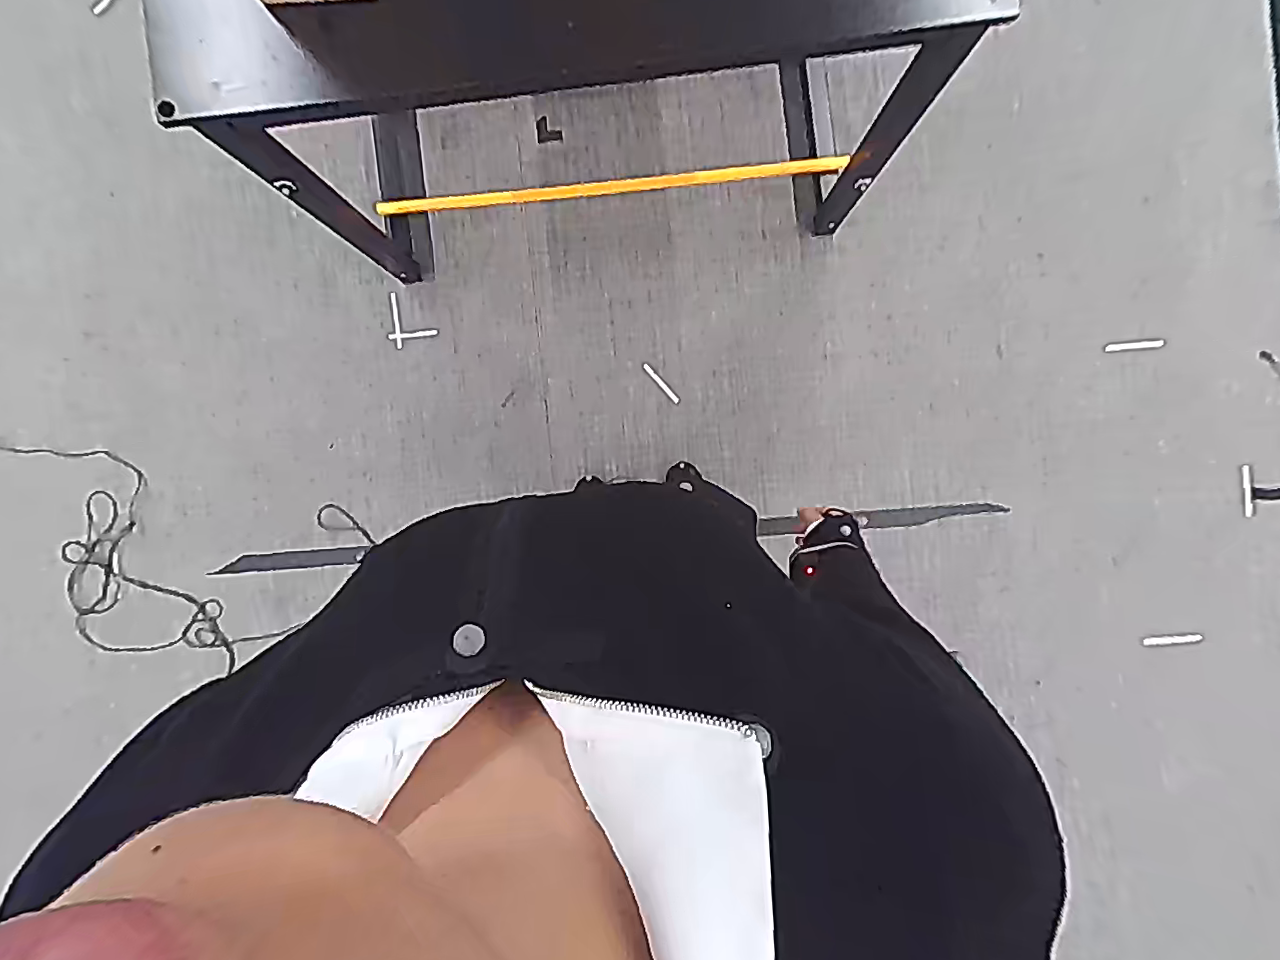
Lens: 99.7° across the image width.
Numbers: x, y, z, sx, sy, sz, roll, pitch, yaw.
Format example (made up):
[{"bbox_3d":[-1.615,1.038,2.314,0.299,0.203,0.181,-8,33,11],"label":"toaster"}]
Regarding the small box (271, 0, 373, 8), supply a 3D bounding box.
[{"bbox_3d":[-0.449,-0.750,0.677,0.168,0.176,0.179,-3,92,2],"label":"small box"}]
